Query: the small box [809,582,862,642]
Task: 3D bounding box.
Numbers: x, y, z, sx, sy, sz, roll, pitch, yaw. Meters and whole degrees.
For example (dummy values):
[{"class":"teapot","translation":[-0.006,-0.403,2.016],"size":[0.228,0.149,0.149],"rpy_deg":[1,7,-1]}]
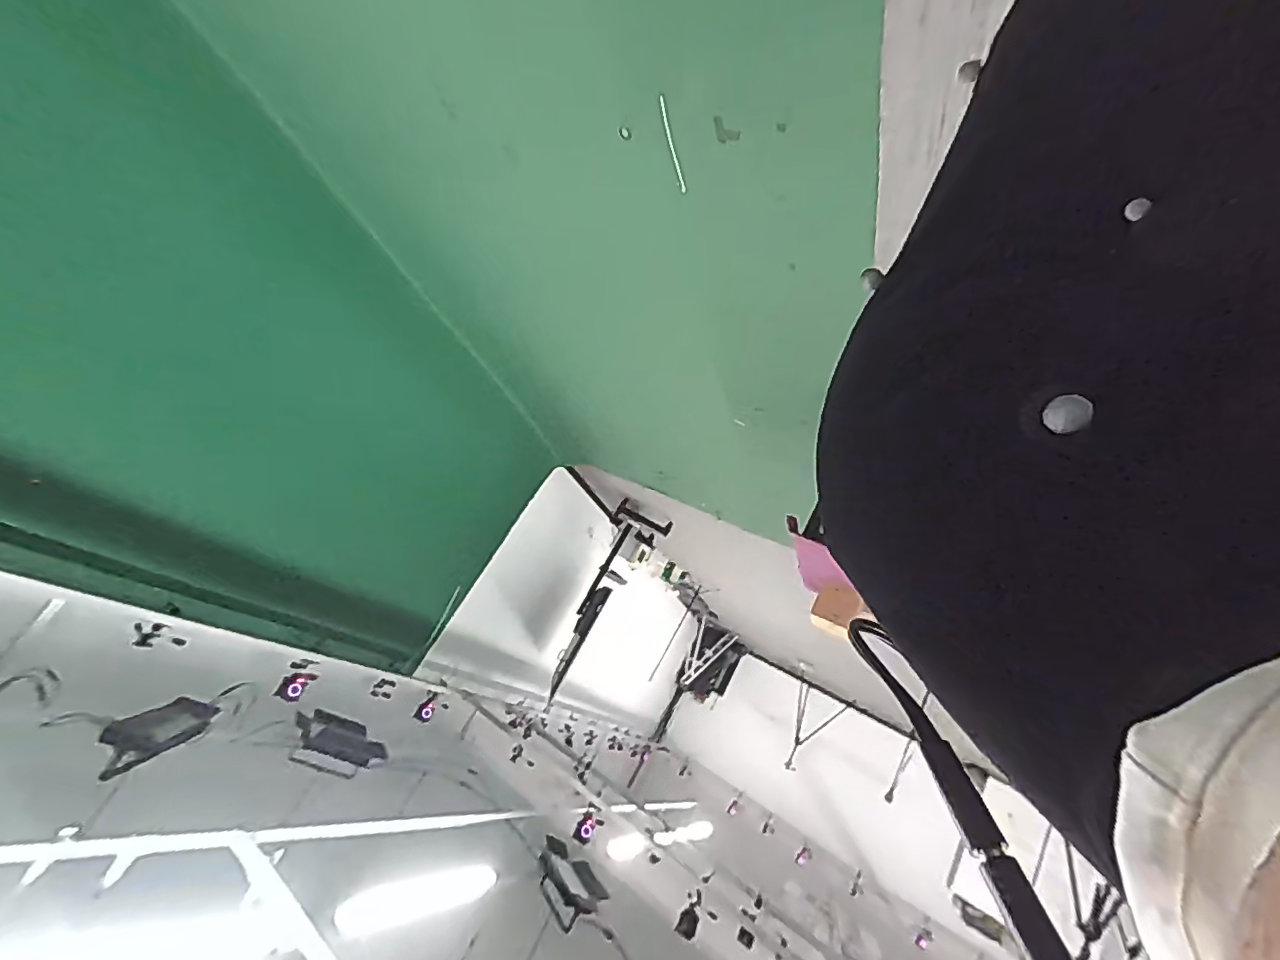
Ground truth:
[{"class":"small box","translation":[0.849,0.569,2.333],"size":[0.168,0.176,0.179],"rpy_deg":[20,160,32]}]
